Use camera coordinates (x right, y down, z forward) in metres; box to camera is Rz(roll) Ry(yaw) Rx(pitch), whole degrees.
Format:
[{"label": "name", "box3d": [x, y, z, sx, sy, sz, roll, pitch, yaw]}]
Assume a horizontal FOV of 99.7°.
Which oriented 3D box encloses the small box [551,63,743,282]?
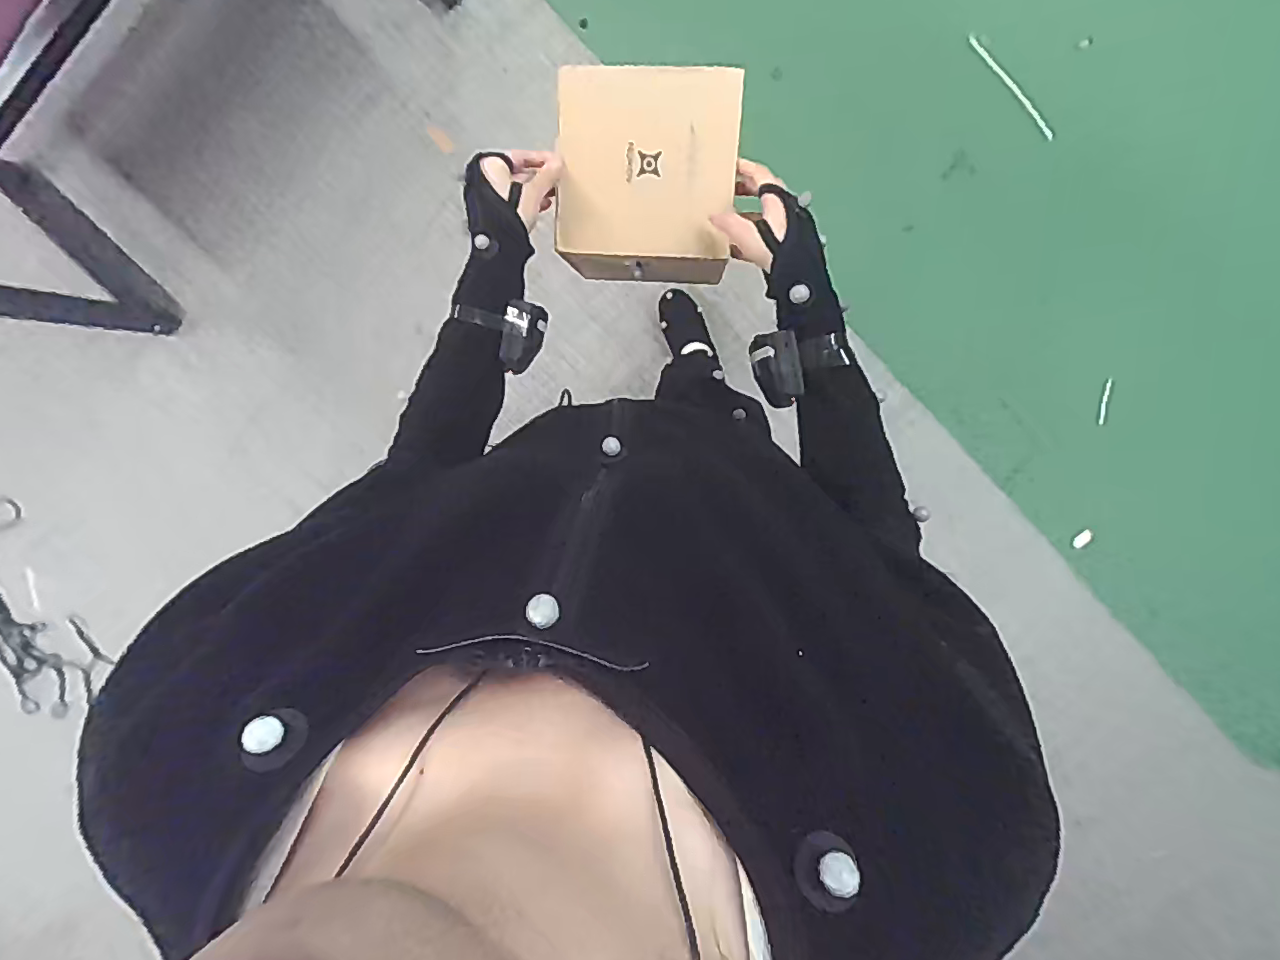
[{"label": "small box", "box3d": [0.010, -0.318, 0.593, 0.179, 0.176, 0.168, 4, 101, 4]}]
